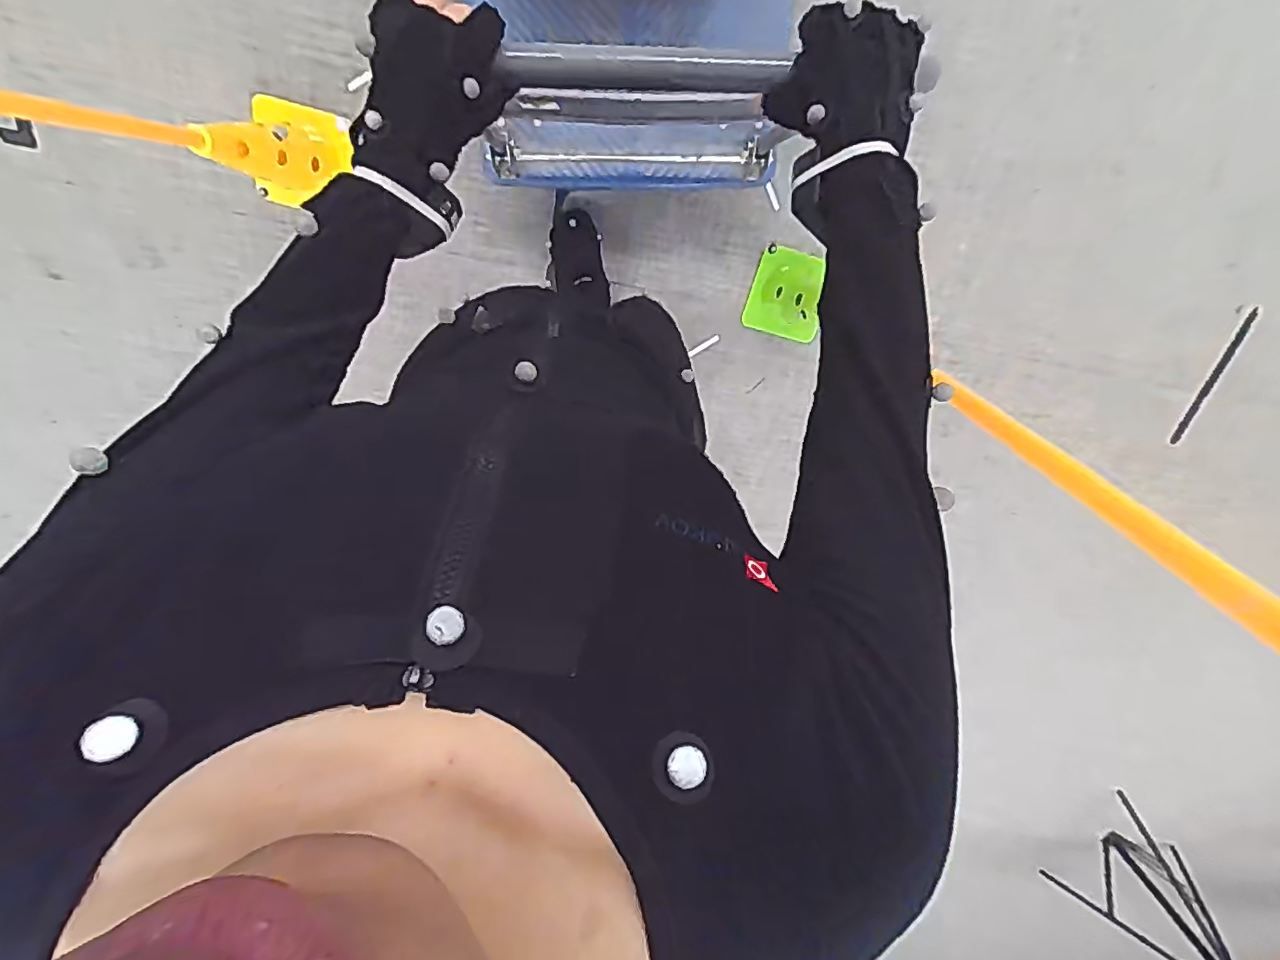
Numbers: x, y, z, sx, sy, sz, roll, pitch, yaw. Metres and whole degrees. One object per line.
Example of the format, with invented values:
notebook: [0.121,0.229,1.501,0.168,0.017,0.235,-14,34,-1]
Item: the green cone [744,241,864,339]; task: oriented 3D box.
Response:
green cone: [0.389,-0.391,1.190,0.202,0.368,0.200,12,115,-11]
